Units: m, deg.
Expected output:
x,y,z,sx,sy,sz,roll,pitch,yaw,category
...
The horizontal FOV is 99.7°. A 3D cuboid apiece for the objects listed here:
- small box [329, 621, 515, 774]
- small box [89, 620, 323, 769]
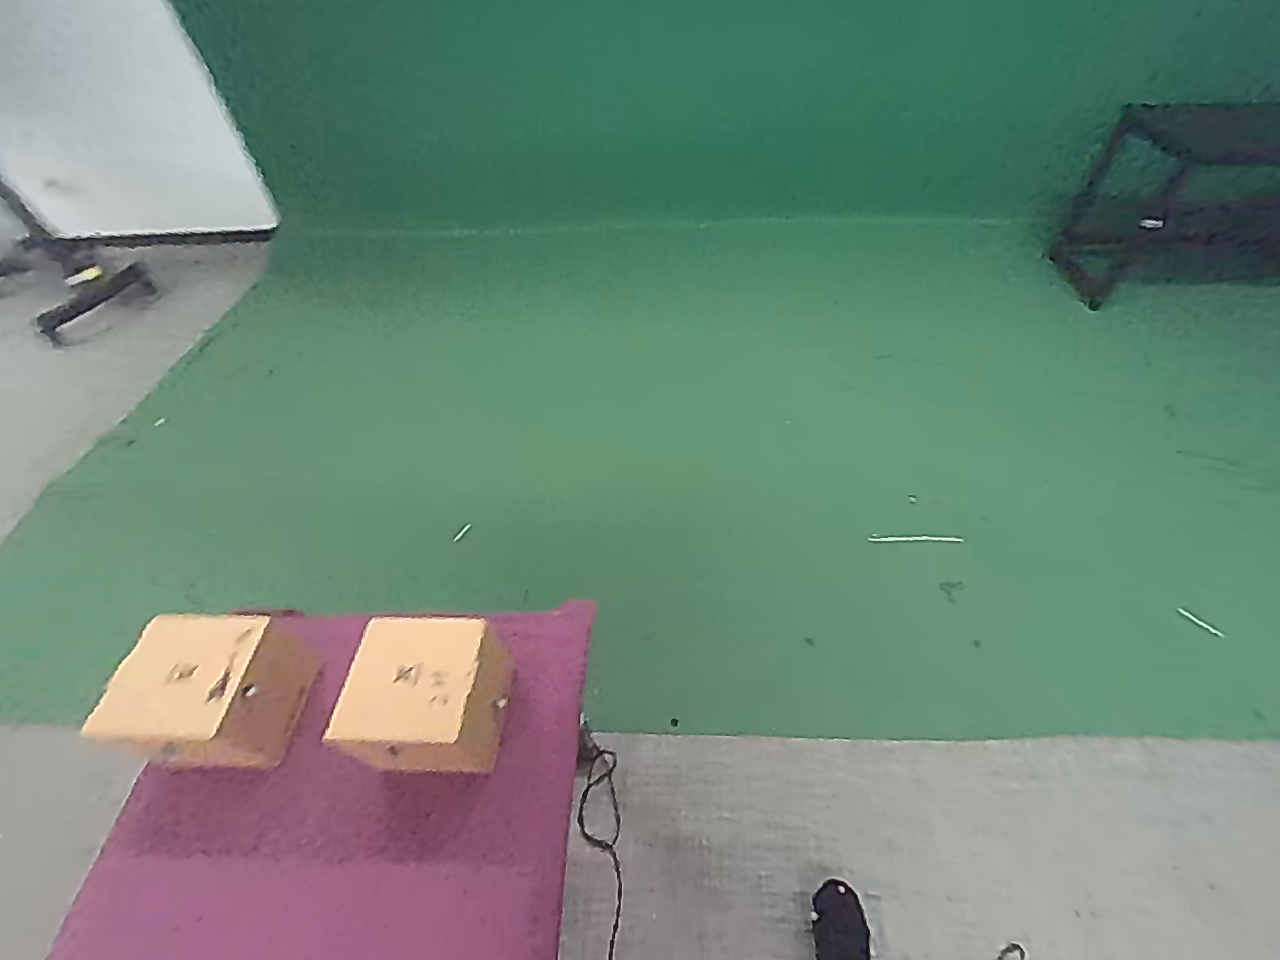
x,y,z,sx,sy,sz,roll,pitch,yaw,category
-0.299,0.319,0.787,0.179,0.176,0.168,0,50,5,small box
-0.620,0.321,0.804,0.179,0.176,0.168,0,51,2,small box
